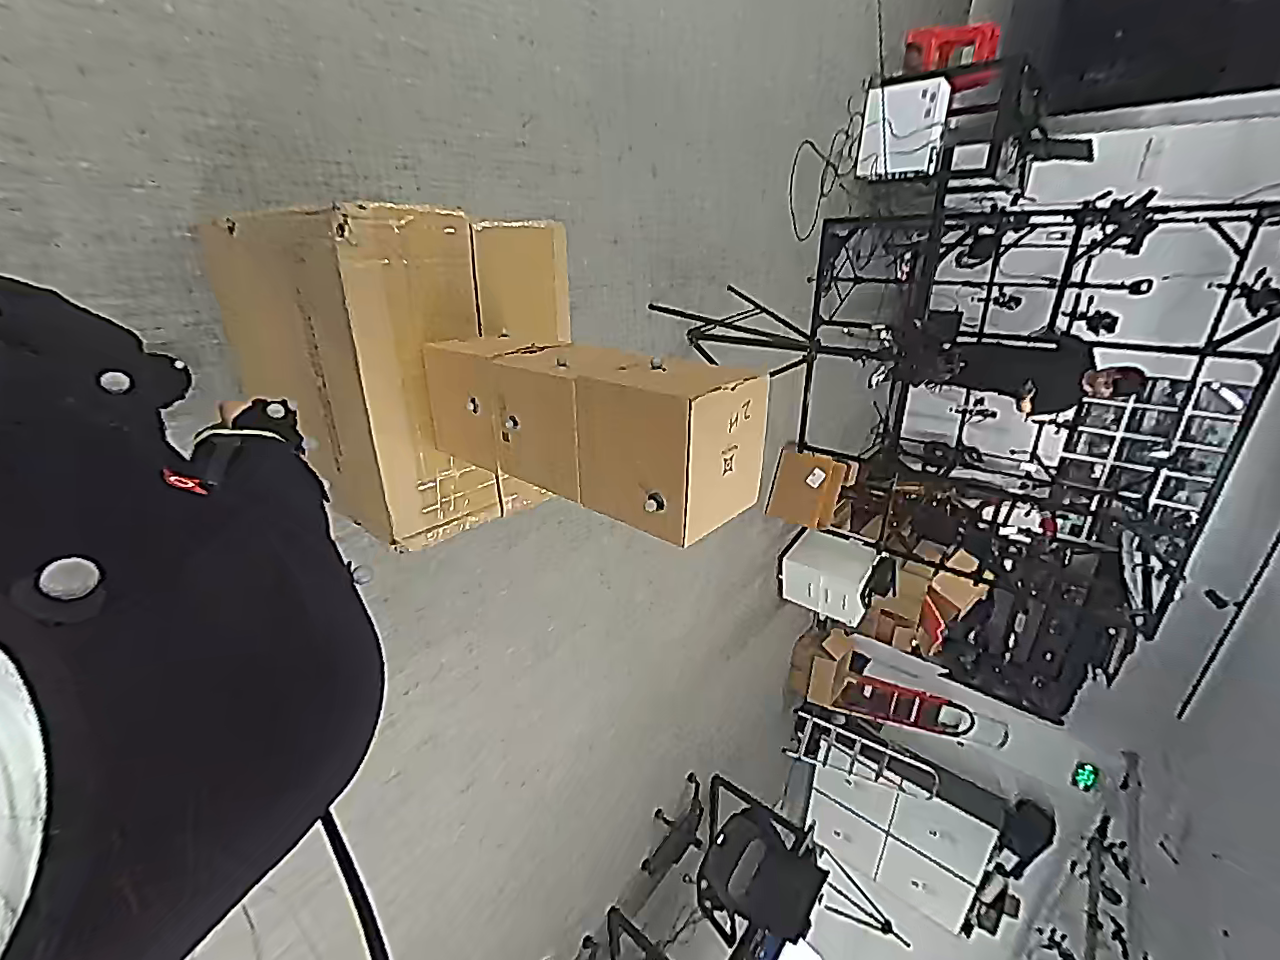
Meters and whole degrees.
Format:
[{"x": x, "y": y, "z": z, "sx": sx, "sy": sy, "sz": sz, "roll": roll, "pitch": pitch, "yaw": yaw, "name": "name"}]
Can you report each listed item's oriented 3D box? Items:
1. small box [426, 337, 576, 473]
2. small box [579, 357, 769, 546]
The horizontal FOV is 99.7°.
[{"x": -0.220, "y": -0.131, "z": 0.860, "sx": 0.168, "sy": 0.176, "sz": 0.179, "roll": -24, "pitch": 123, "yaw": -45, "name": "small box"}, {"x": 0.038, "y": -0.047, "z": 0.672, "sx": 0.168, "sy": 0.176, "sz": 0.179, "roll": -24, "pitch": 123, "yaw": -45, "name": "small box"}]
